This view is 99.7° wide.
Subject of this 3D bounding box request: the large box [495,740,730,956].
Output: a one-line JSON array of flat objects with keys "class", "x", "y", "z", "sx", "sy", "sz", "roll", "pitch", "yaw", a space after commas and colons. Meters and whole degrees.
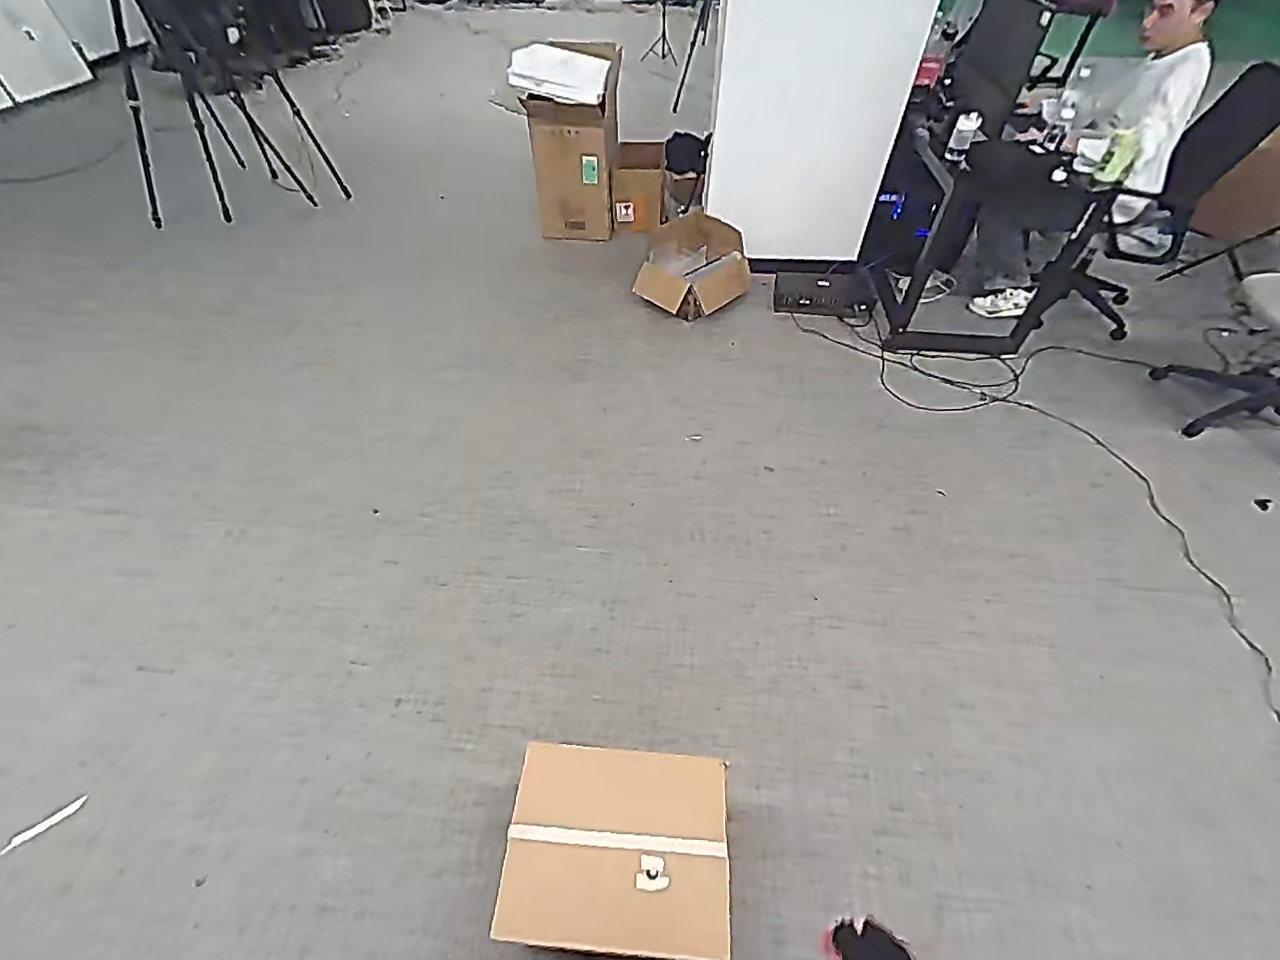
[{"class": "large box", "x": -0.043, "y": 0.758, "z": 1.110, "sx": 0.408, "sy": 0.320, "sz": 0.320, "roll": 4, "pitch": 49, "yaw": 2}]
